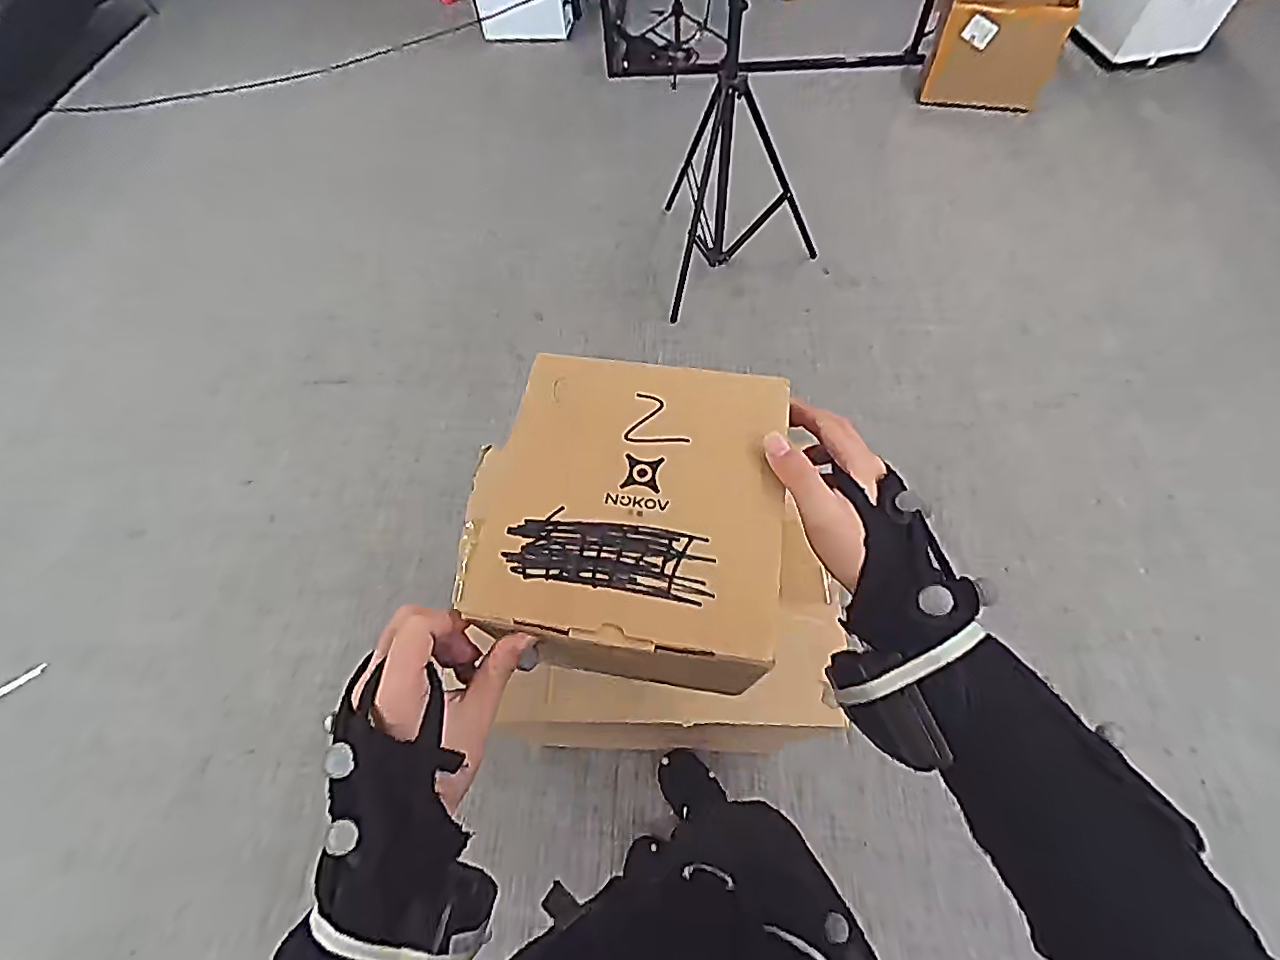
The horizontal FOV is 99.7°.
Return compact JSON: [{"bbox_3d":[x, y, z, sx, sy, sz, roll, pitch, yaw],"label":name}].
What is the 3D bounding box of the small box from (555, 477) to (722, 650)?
[{"bbox_3d":[0.004,0.108,0.665,0.179,0.176,0.168,-1,61,4],"label":"small box"}]
